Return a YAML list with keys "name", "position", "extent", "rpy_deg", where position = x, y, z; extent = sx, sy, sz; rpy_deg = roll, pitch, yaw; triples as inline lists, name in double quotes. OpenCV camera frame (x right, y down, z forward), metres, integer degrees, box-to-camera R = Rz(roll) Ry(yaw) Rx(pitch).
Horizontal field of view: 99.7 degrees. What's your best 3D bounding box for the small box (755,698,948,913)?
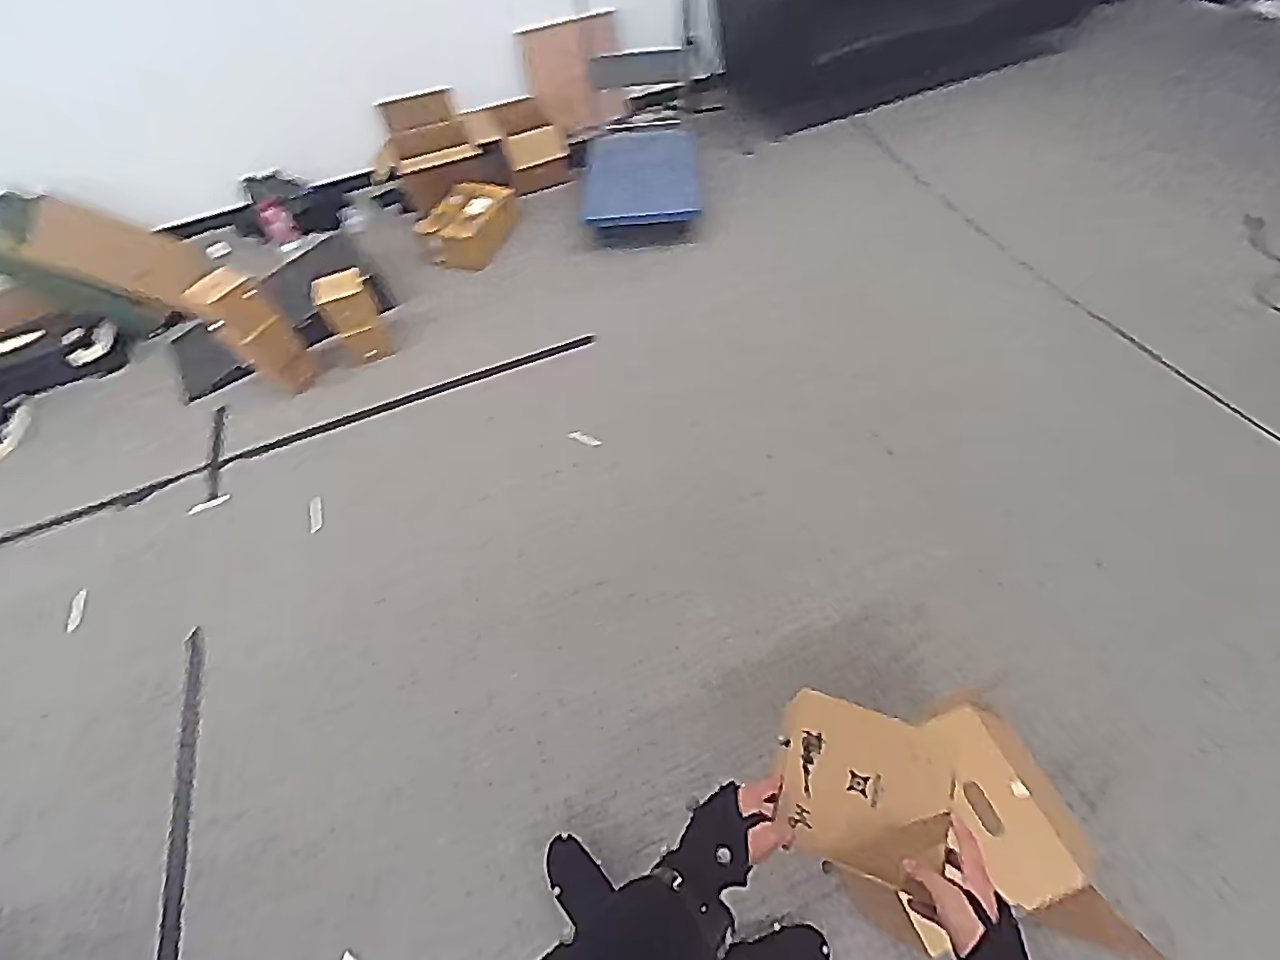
- name: "small box"
  position: [0.254, 0.392, 0.679]
  extent: [0.179, 0.176, 0.168]
  rpy_deg: [16, 65, 15]
